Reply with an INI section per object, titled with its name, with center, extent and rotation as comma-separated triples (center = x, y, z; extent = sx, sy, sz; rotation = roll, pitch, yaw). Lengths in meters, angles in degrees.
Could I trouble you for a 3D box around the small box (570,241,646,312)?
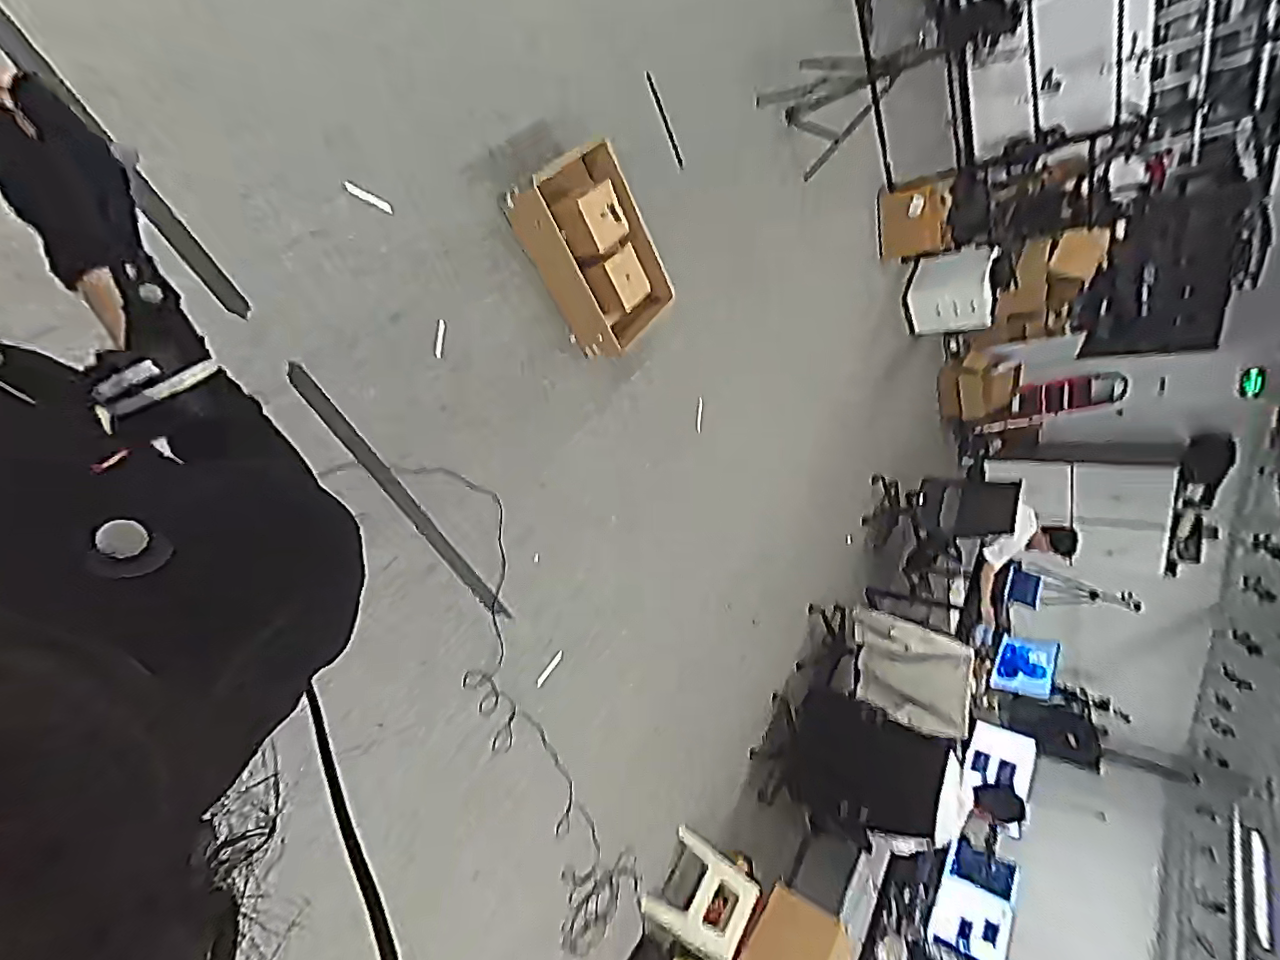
[small box]
center = -0.115, -0.722, 1.940
extent = 0.168, 0.176, 0.179
rotation = -51, 127, -31
